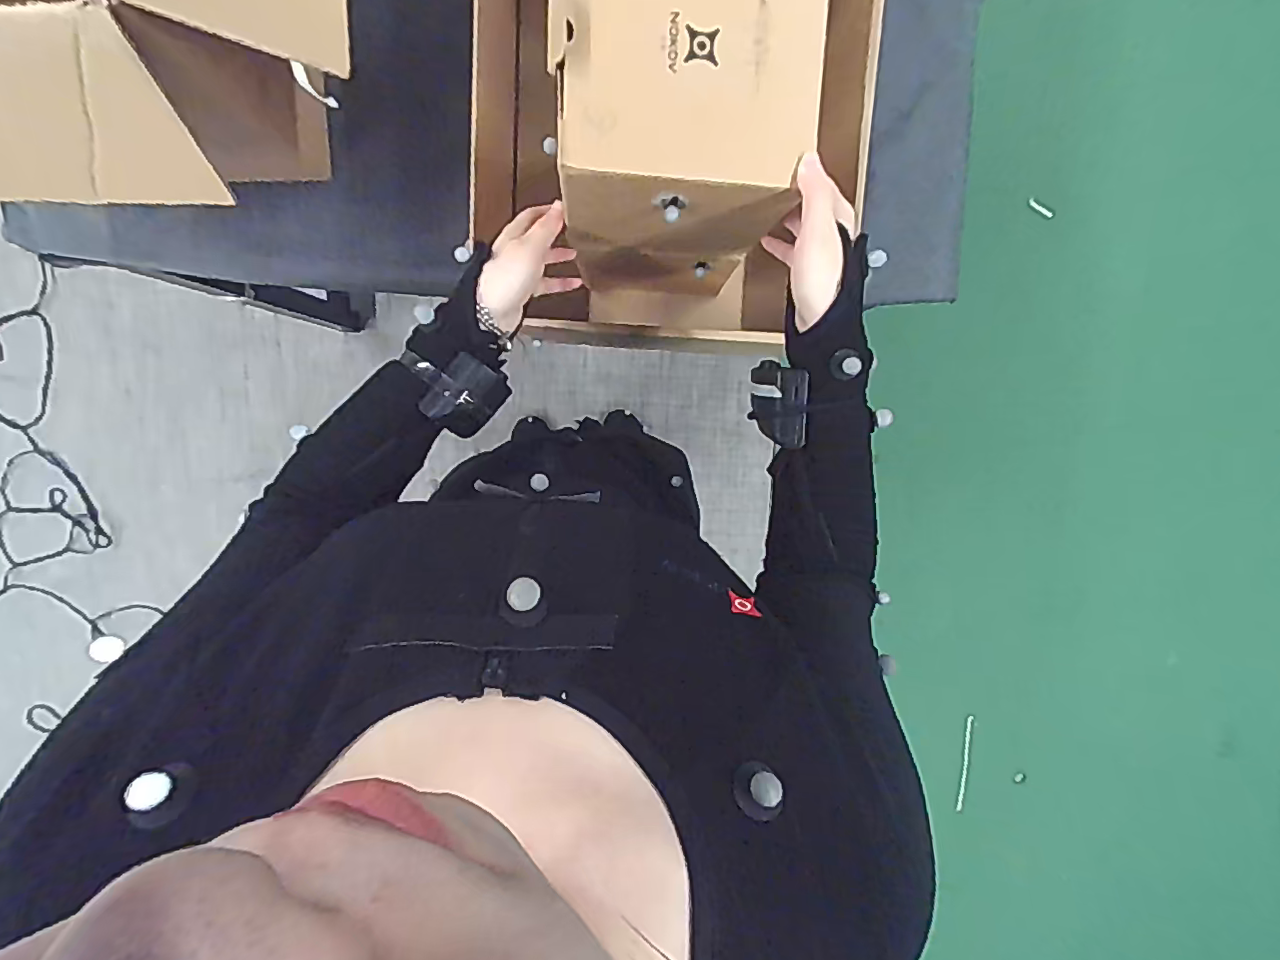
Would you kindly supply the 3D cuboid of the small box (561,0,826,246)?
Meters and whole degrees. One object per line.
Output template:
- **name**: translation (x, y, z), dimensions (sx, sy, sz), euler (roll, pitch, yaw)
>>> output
- **small box**: translation (0.029, -0.299, 0.438), dimensions (0.179, 0.176, 0.168), euler (1, 100, -8)
